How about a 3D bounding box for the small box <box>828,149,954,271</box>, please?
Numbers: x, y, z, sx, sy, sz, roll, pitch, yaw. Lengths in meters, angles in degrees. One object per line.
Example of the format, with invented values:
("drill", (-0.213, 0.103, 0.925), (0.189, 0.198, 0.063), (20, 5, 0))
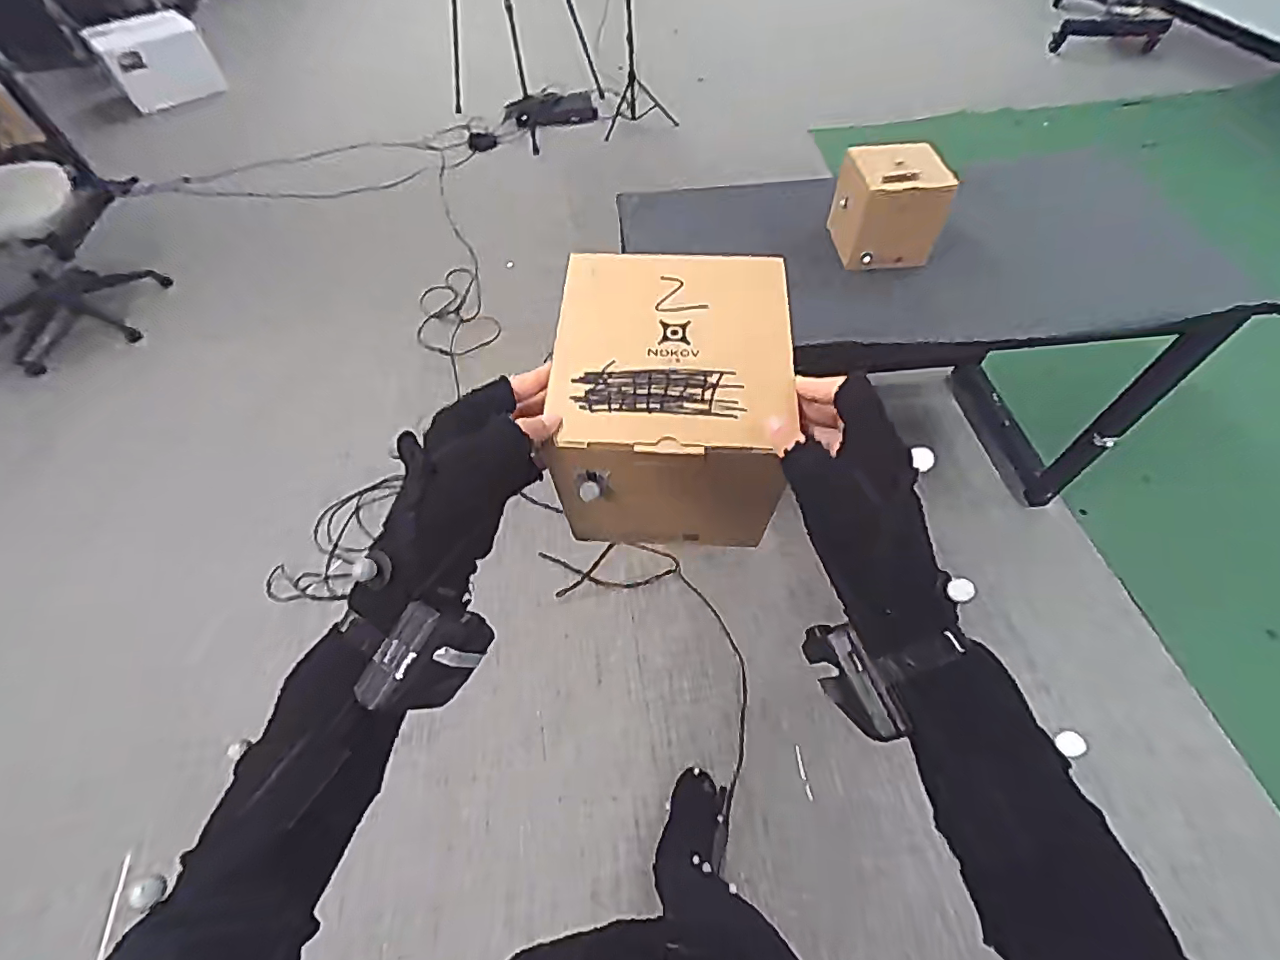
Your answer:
("small box", (0.504, -0.549, 1.114), (0.168, 0.176, 0.179), (-3, 54, 1))
